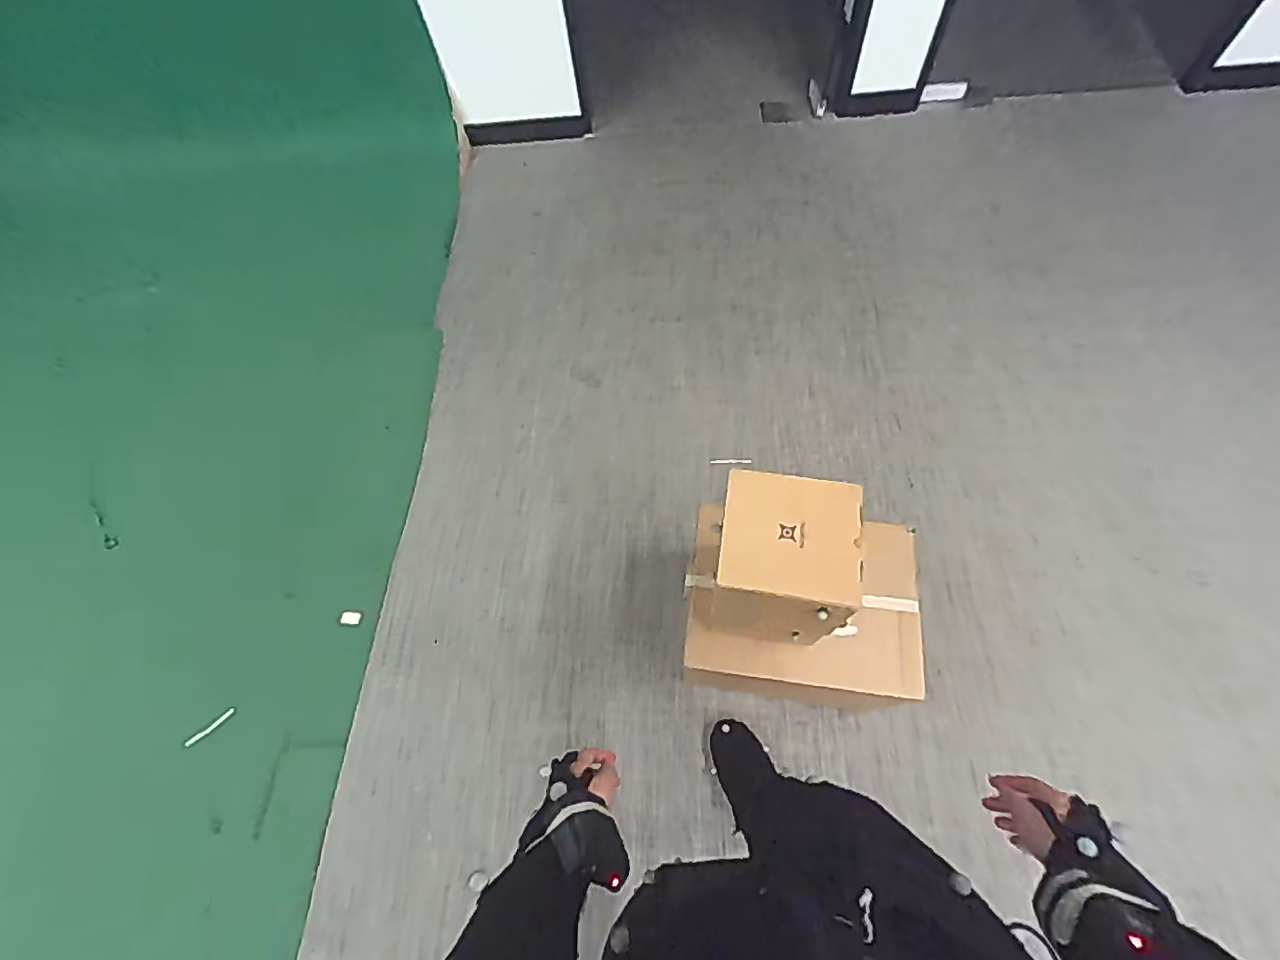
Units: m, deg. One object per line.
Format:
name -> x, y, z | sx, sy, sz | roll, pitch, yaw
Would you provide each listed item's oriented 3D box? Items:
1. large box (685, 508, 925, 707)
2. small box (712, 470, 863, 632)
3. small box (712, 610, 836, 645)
large box -> 0.304, 0.272, 1.113 | 0.408, 0.320, 0.320 | 6, 66, 6
small box -> 0.197, 0.105, 0.752 | 0.179, 0.176, 0.168 | 7, 64, 7
small box -> 0.216, 0.171, 0.900 | 0.179, 0.176, 0.168 | 5, 63, 8
